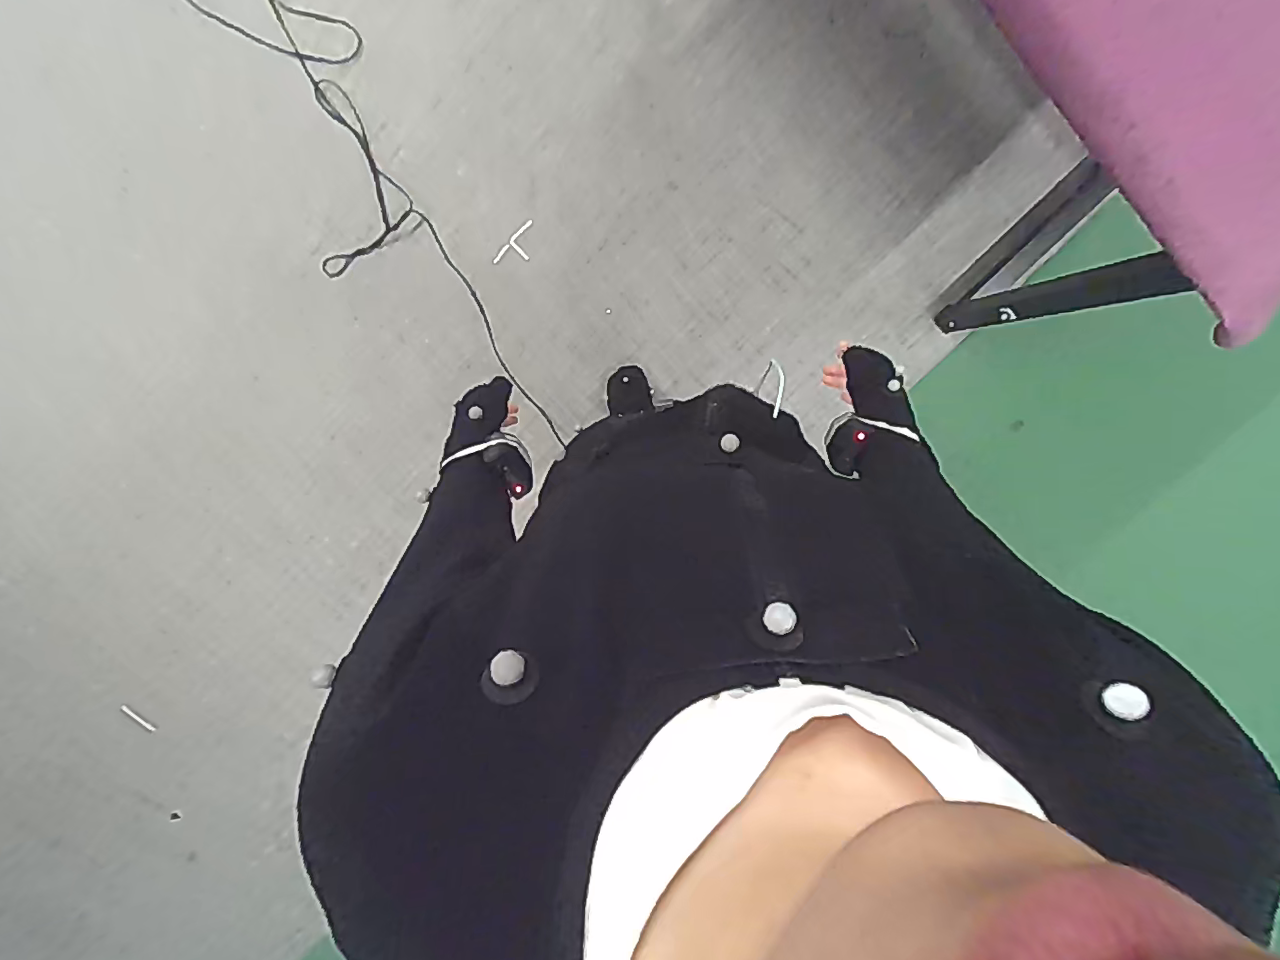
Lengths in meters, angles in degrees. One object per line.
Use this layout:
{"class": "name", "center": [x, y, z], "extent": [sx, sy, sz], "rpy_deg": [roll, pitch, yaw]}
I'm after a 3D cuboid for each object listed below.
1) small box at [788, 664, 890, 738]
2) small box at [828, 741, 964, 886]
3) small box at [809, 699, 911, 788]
{"class": "small box", "center": [0.545, 0.652, 1.503], "extent": [0.168, 0.176, 0.179], "rpy_deg": [-45, 98, 7]}
{"class": "small box", "center": [0.547, 0.718, 1.183], "extent": [0.168, 0.176, 0.179], "rpy_deg": [44, 98, -8]}
{"class": "small box", "center": [0.544, 0.690, 1.341], "extent": [0.179, 0.176, 0.168], "rpy_deg": [-42, 100, 8]}
